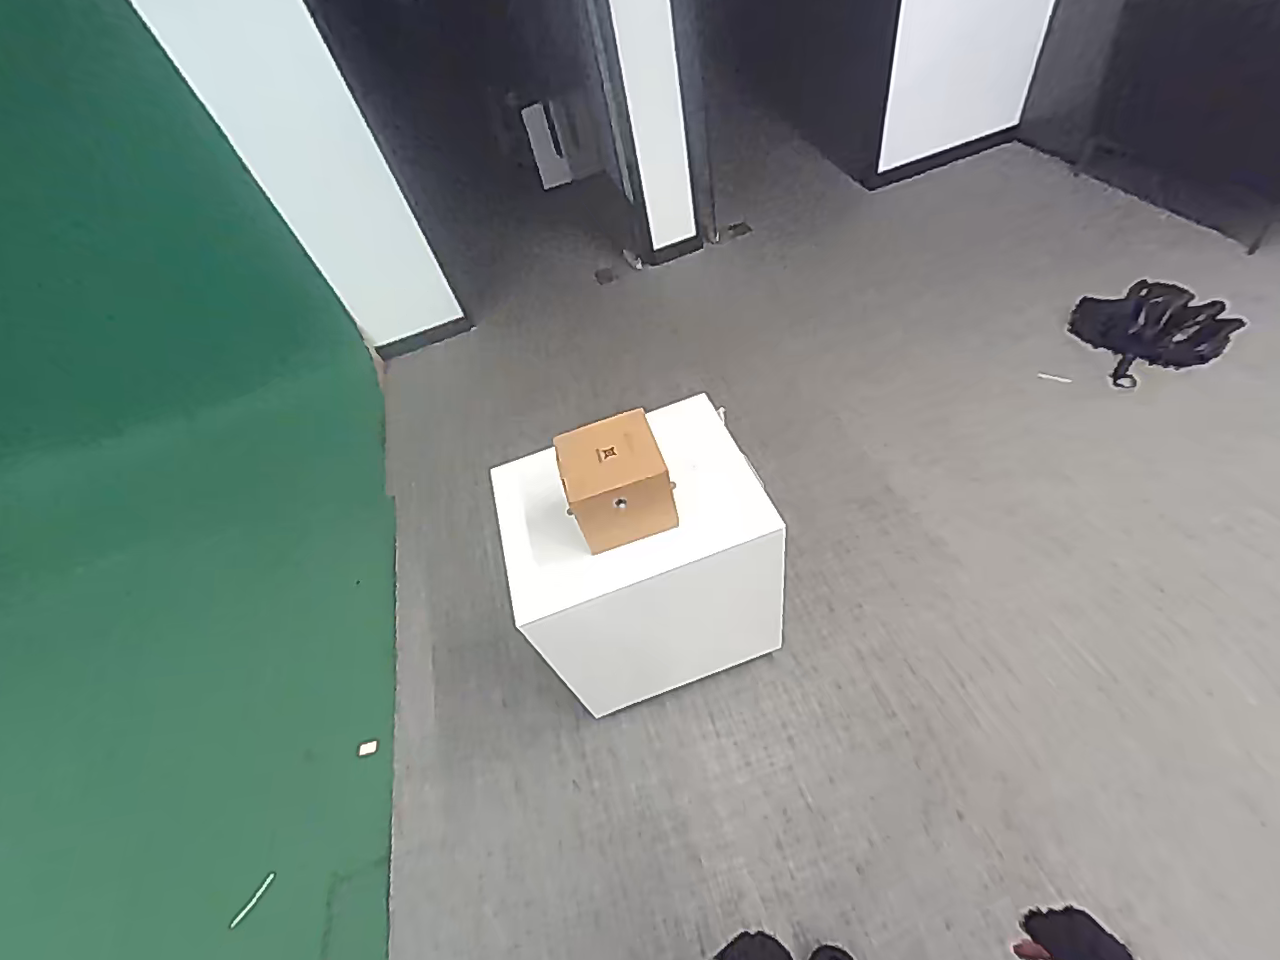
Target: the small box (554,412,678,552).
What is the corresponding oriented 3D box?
[{"bbox_3d":[-0.041,0.009,1.002,0.179,0.176,0.168,-18,50,-2],"label":"small box"}]
